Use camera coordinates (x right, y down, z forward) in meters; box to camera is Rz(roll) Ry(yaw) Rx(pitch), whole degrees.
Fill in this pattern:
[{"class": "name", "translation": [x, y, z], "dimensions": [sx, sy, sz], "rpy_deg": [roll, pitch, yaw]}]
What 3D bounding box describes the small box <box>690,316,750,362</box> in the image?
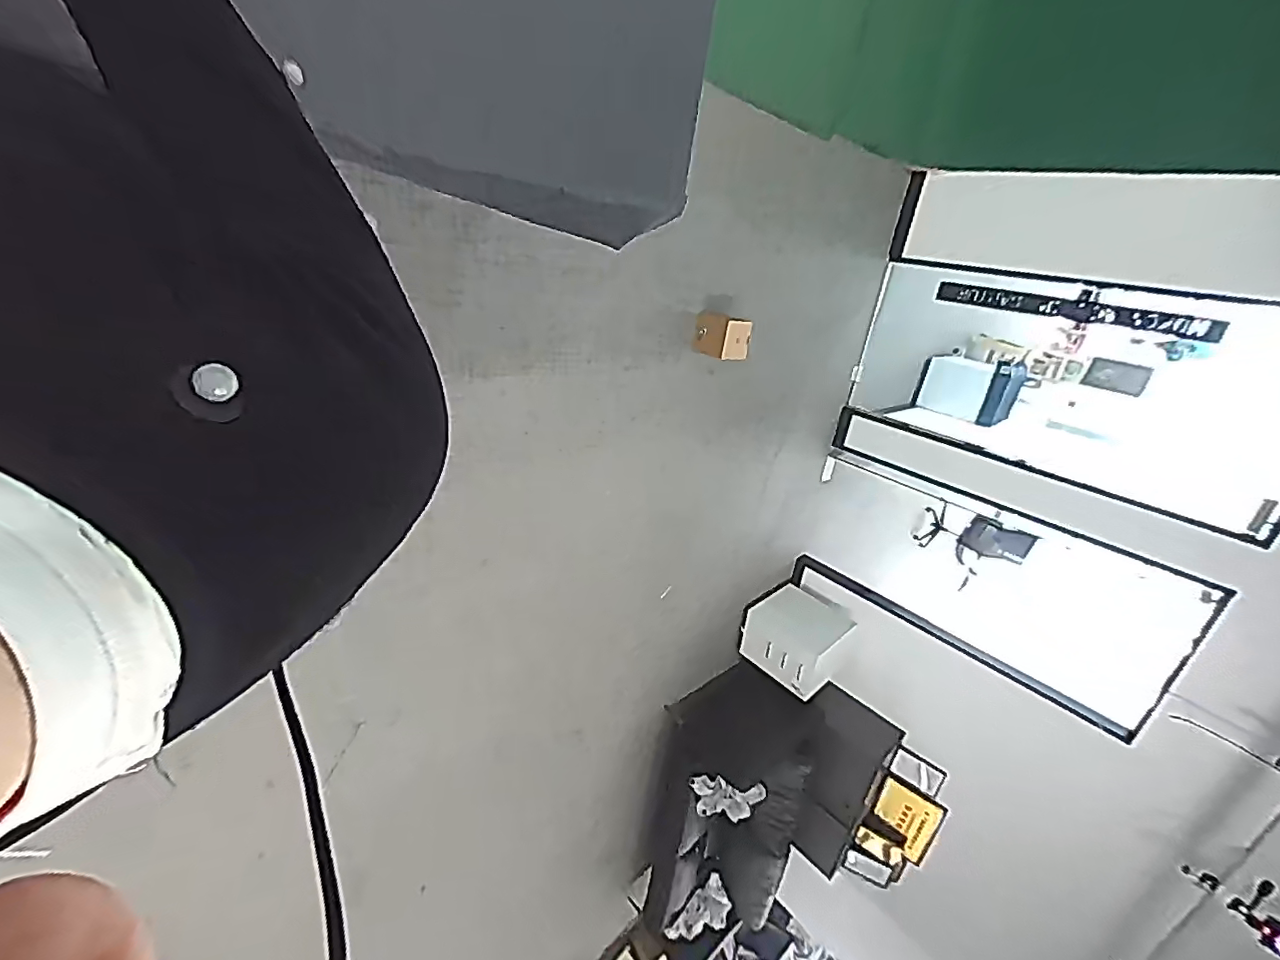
[{"class": "small box", "translation": [0.346, -0.619, 2.362], "dimensions": [0.179, 0.176, 0.168], "rpy_deg": [-10, 117, -43]}]
